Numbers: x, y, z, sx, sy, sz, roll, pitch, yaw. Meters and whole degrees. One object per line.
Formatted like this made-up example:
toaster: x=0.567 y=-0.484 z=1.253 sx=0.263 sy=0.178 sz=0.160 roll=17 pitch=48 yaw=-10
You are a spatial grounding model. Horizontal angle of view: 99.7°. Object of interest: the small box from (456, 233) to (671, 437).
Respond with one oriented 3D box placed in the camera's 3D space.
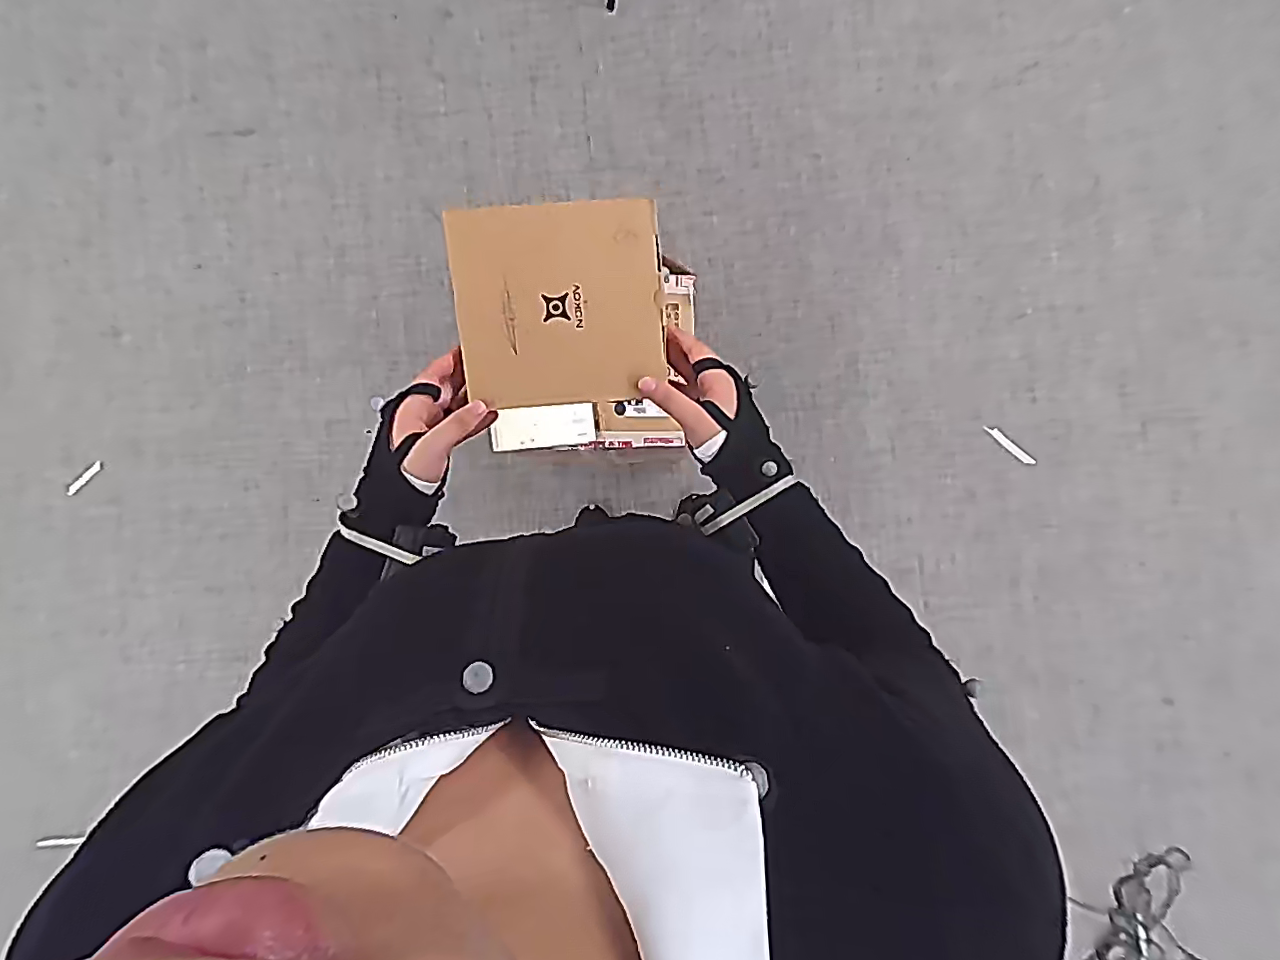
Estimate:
small box: x=-0.069 y=-0.138 z=0.554 sx=0.179 sy=0.176 sz=0.168 roll=-6 pitch=98 yaw=-1
